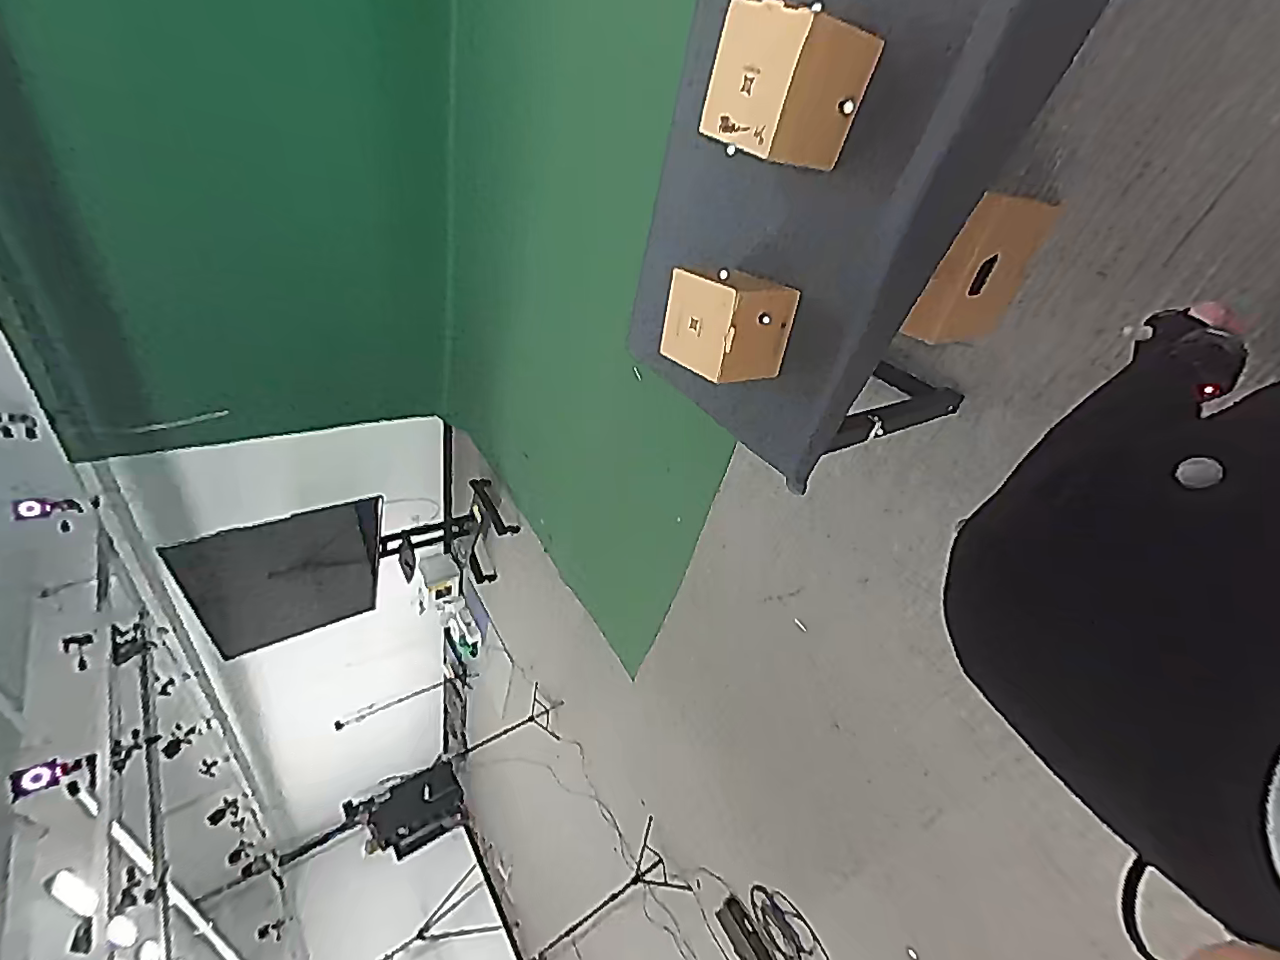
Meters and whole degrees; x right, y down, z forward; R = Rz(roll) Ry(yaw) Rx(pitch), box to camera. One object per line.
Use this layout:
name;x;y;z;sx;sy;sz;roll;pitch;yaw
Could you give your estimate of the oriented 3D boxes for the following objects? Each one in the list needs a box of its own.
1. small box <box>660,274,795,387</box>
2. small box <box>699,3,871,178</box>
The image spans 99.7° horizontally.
small box;0.167;-0.292;1.042;0.179;0.176;0.168;40;130;43
small box;0.227;-0.599;0.845;0.168;0.176;0.179;48;136;34
